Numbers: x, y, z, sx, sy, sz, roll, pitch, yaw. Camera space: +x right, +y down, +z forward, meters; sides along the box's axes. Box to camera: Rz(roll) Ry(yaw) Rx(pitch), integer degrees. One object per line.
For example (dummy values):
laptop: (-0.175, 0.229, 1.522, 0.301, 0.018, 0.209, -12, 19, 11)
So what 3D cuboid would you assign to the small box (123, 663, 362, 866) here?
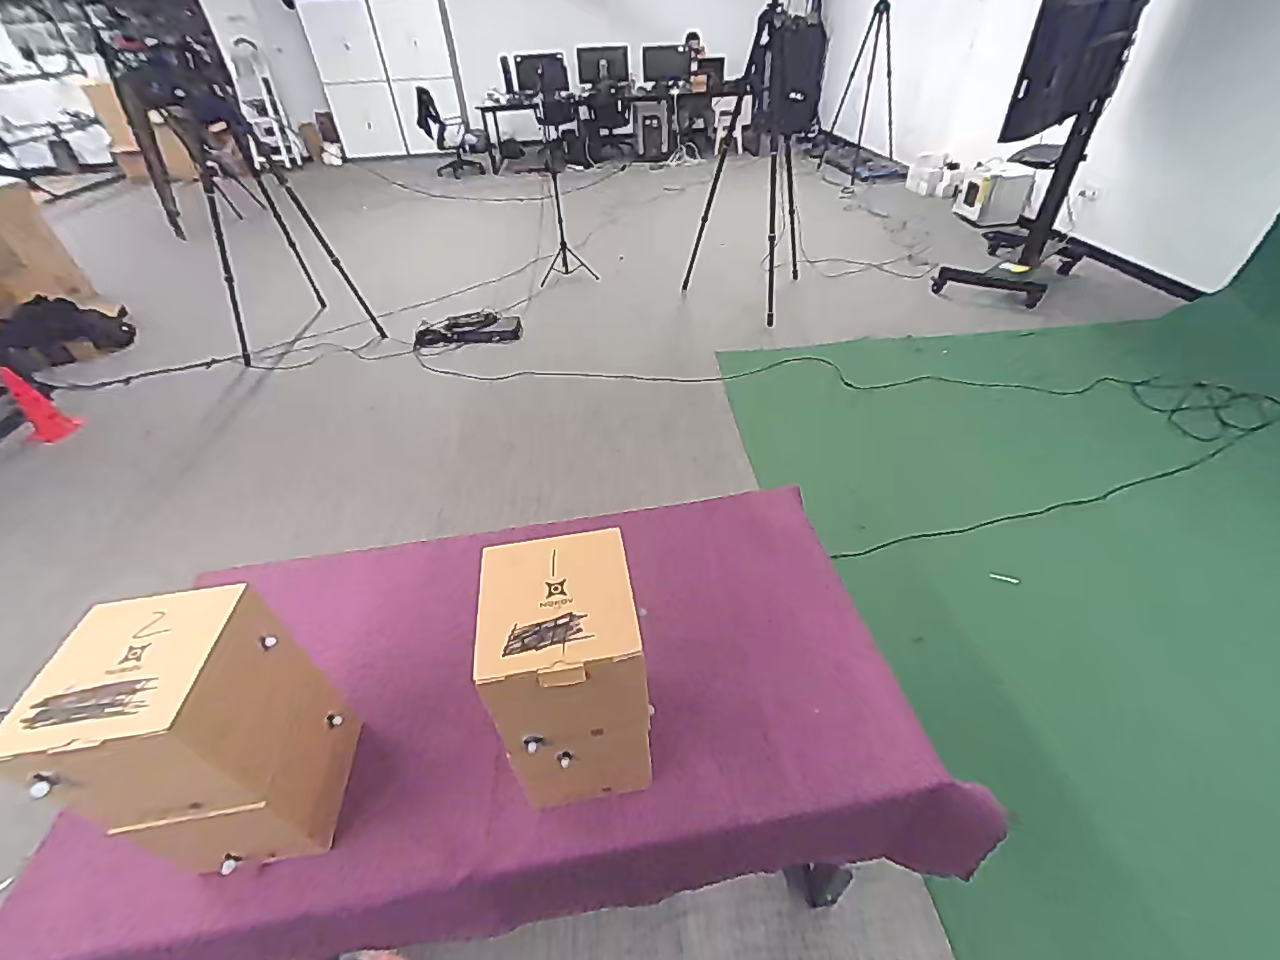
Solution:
small box: (-0.490, 0.370, 0.707, 0.168, 0.176, 0.179, -7, 42, -3)

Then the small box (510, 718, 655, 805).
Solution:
small box: (-0.075, 0.310, 0.742, 0.168, 0.176, 0.179, -9, 41, -4)

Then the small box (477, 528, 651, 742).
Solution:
small box: (-0.083, 0.185, 0.635, 0.168, 0.176, 0.179, -8, 41, -5)
